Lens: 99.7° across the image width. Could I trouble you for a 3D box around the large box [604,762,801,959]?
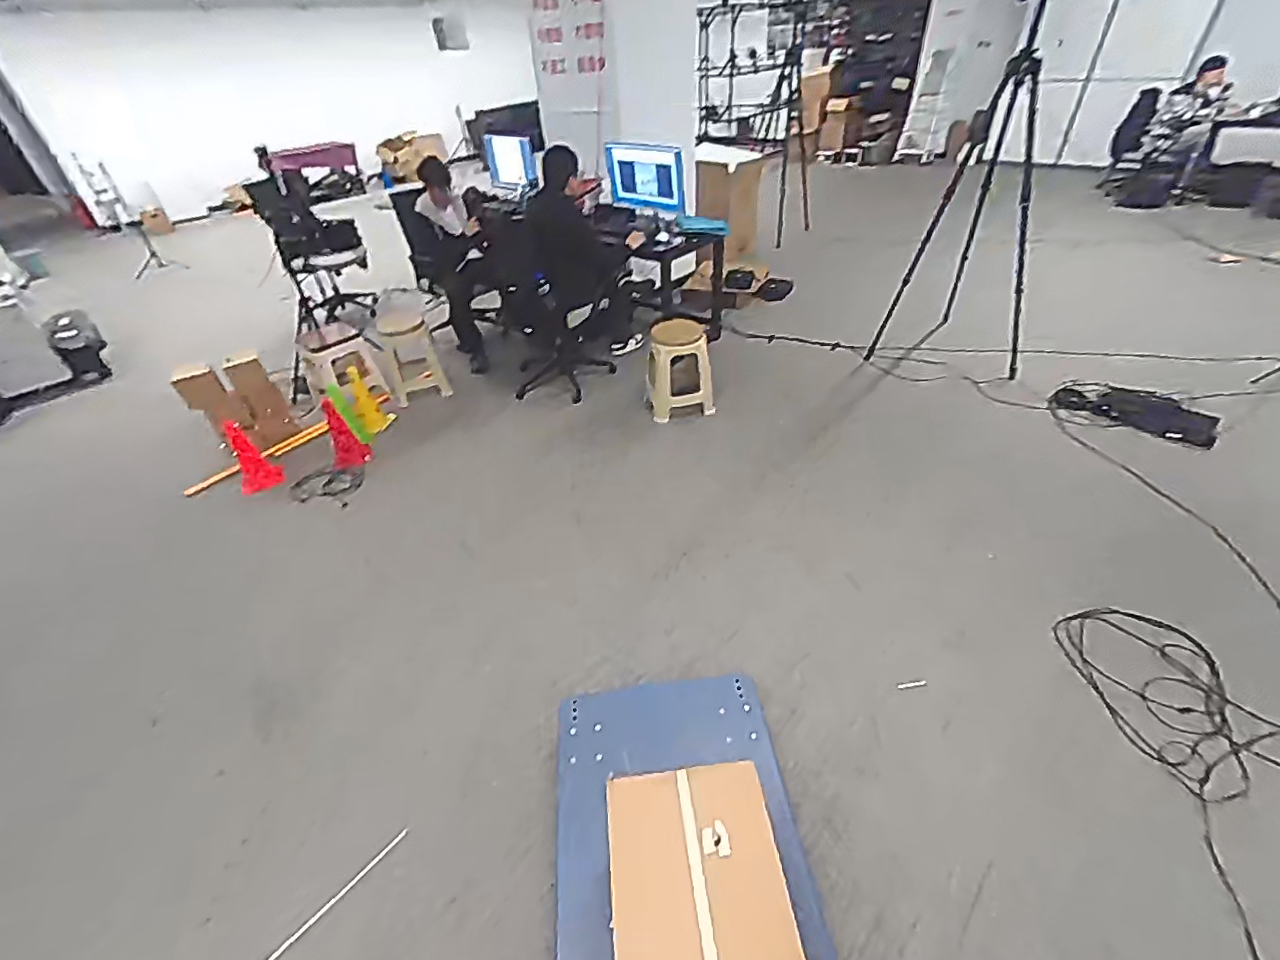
[{"bbox_3d":[0.109,0.853,1.075,0.320,0.320,0.408,-6,38,-3],"label":"large box"}]
